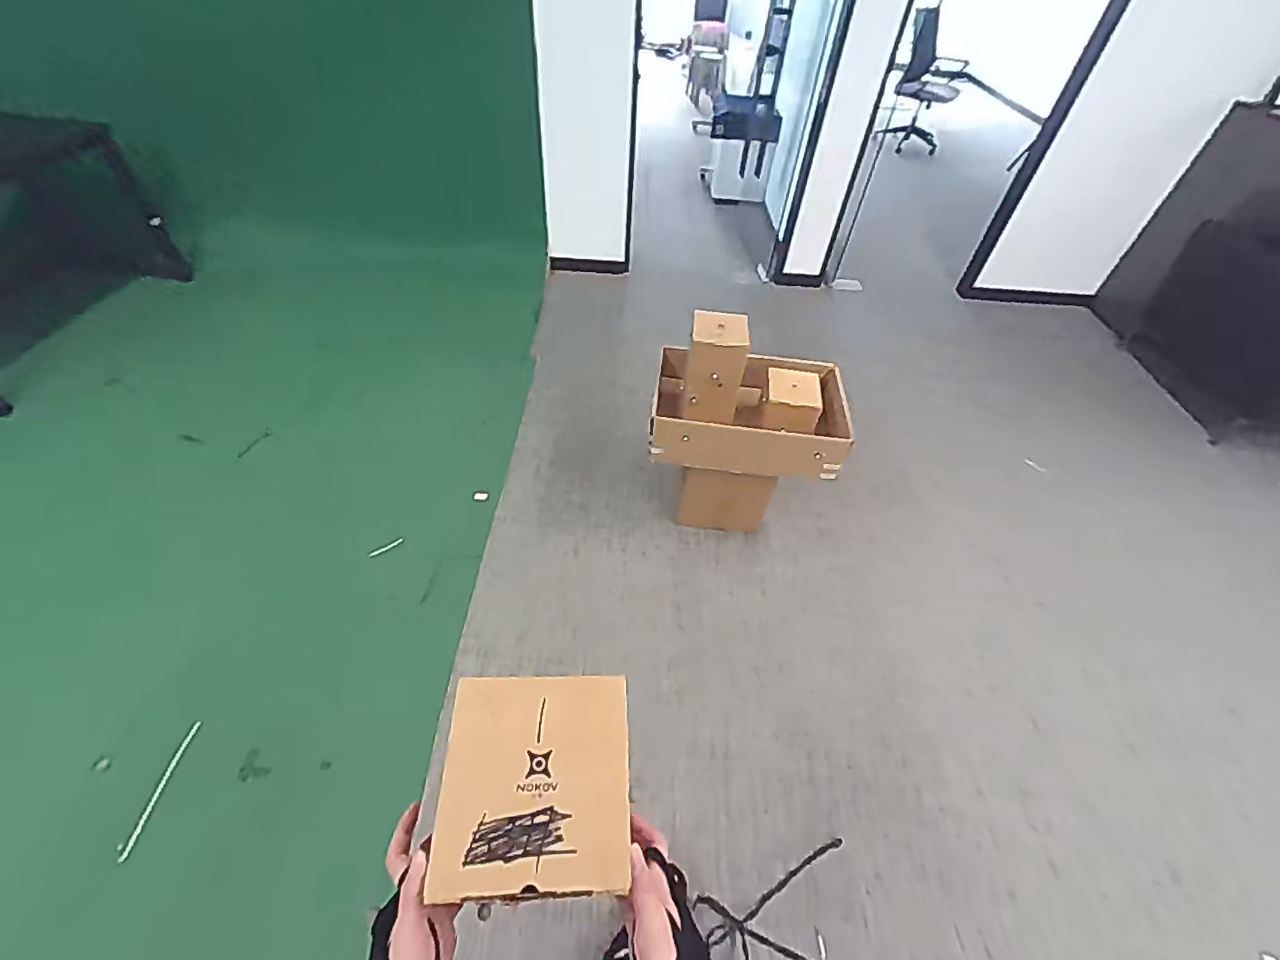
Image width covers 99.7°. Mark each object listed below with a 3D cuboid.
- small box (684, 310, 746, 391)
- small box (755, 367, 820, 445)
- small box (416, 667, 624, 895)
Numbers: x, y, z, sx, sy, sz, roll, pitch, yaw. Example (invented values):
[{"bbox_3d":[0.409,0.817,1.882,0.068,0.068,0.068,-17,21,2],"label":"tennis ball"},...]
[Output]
[{"bbox_3d":[0.227,-0.400,1.670,0.168,0.176,0.179,6,48,2],"label":"small box"},{"bbox_3d":[0.478,-0.242,1.773,0.168,0.176,0.179,8,49,2],"label":"small box"},{"bbox_3d":[-0.102,0.301,0.536,0.168,0.176,0.179,2,51,-6],"label":"small box"}]
